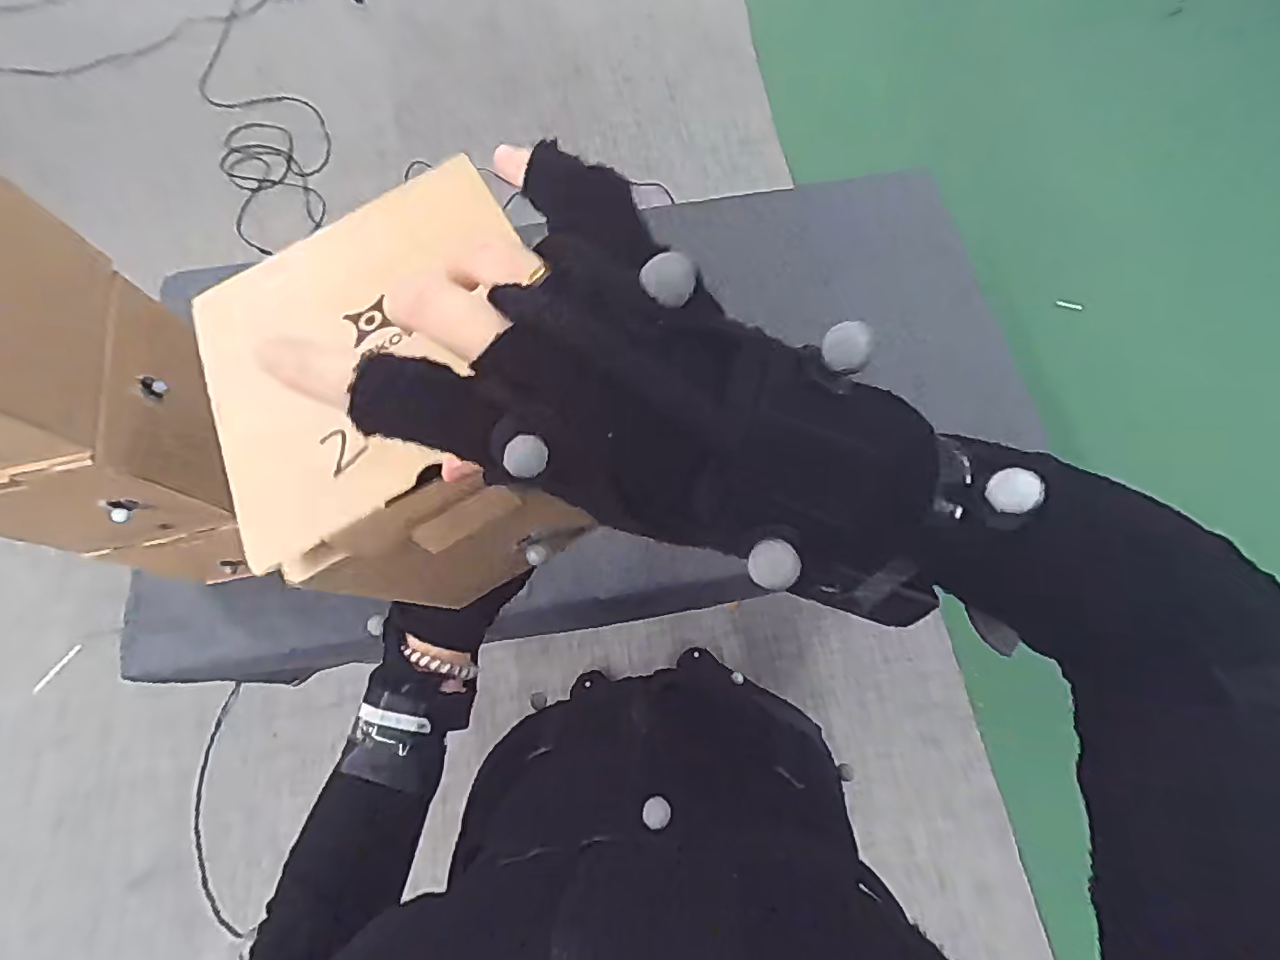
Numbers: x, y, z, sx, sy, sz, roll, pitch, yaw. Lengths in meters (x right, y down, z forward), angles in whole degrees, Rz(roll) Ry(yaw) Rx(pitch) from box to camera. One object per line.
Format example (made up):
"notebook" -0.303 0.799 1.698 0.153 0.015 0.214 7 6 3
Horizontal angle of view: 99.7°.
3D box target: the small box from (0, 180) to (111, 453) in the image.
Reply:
"small box" -0.489 -0.115 0.334 0.168 0.176 0.179 -12 71 -5

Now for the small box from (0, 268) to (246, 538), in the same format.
"small box" -0.486 -0.054 0.487 0.168 0.176 0.179 -11 71 -4

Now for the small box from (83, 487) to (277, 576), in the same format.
"small box" -0.485 0.002 0.640 0.168 0.176 0.179 -12 72 -4

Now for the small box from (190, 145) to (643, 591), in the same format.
"small box" -0.114 -0.047 0.335 0.168 0.176 0.179 -30 73 -1
